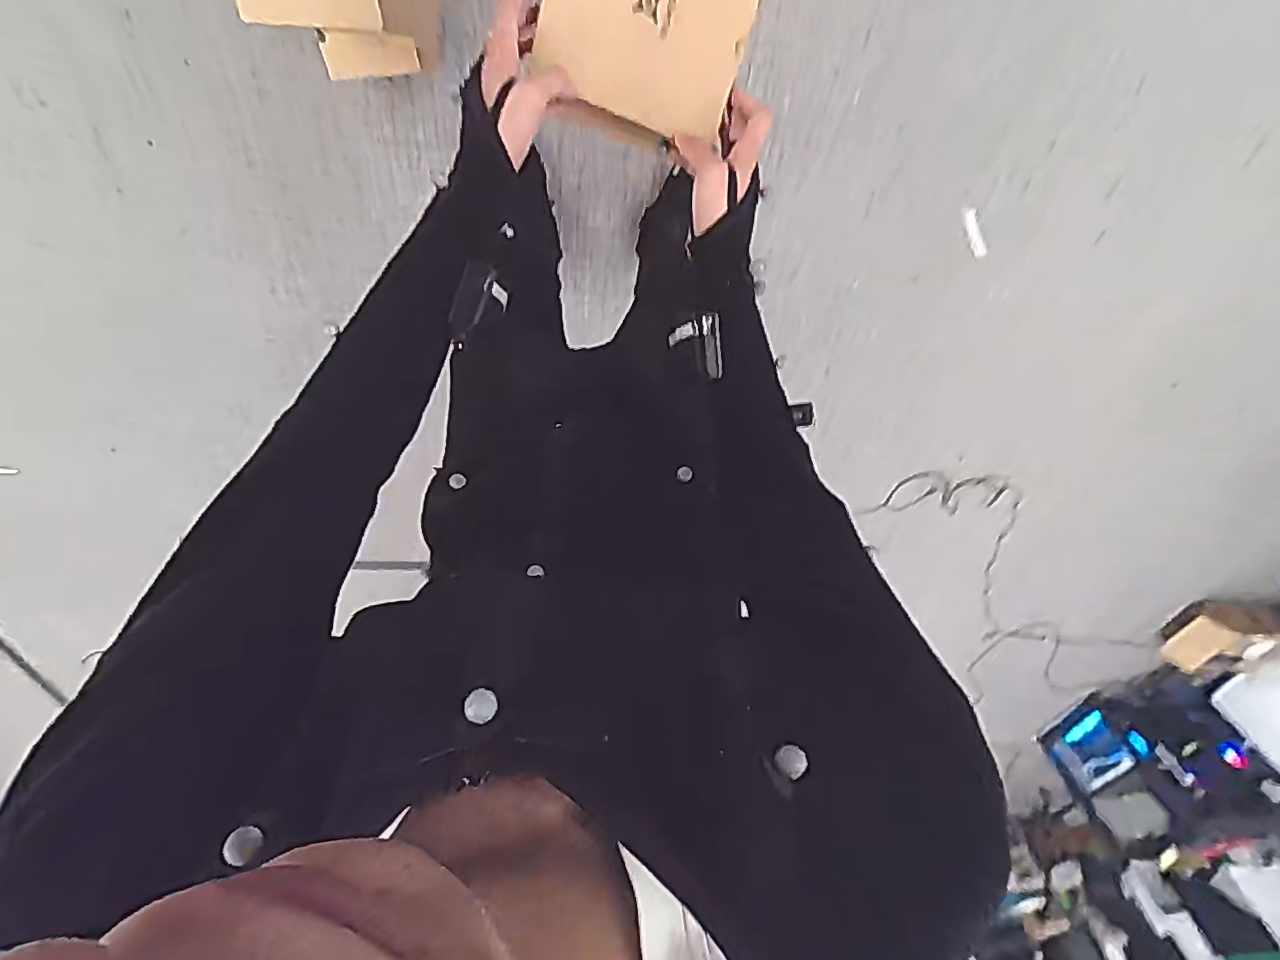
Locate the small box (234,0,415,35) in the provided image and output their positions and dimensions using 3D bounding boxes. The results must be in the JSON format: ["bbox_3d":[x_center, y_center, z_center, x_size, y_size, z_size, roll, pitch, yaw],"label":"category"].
[{"bbox_3d":[-0.410,-0.682,0.690,0.179,0.176,0.168,-1,128,-6],"label":"small box"}]

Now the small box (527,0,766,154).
[{"bbox_3d":[-0.002,-0.420,0.502,0.179,0.176,0.168,11,116,-18],"label":"small box"}]

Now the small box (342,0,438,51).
[{"bbox_3d":[-0.410,-0.781,0.821,0.168,0.176,0.179,6,128,-10],"label":"small box"}]

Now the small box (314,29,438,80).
[{"bbox_3d":[-0.484,-0.839,0.976,0.168,0.176,0.179,-6,129,-1],"label":"small box"}]
